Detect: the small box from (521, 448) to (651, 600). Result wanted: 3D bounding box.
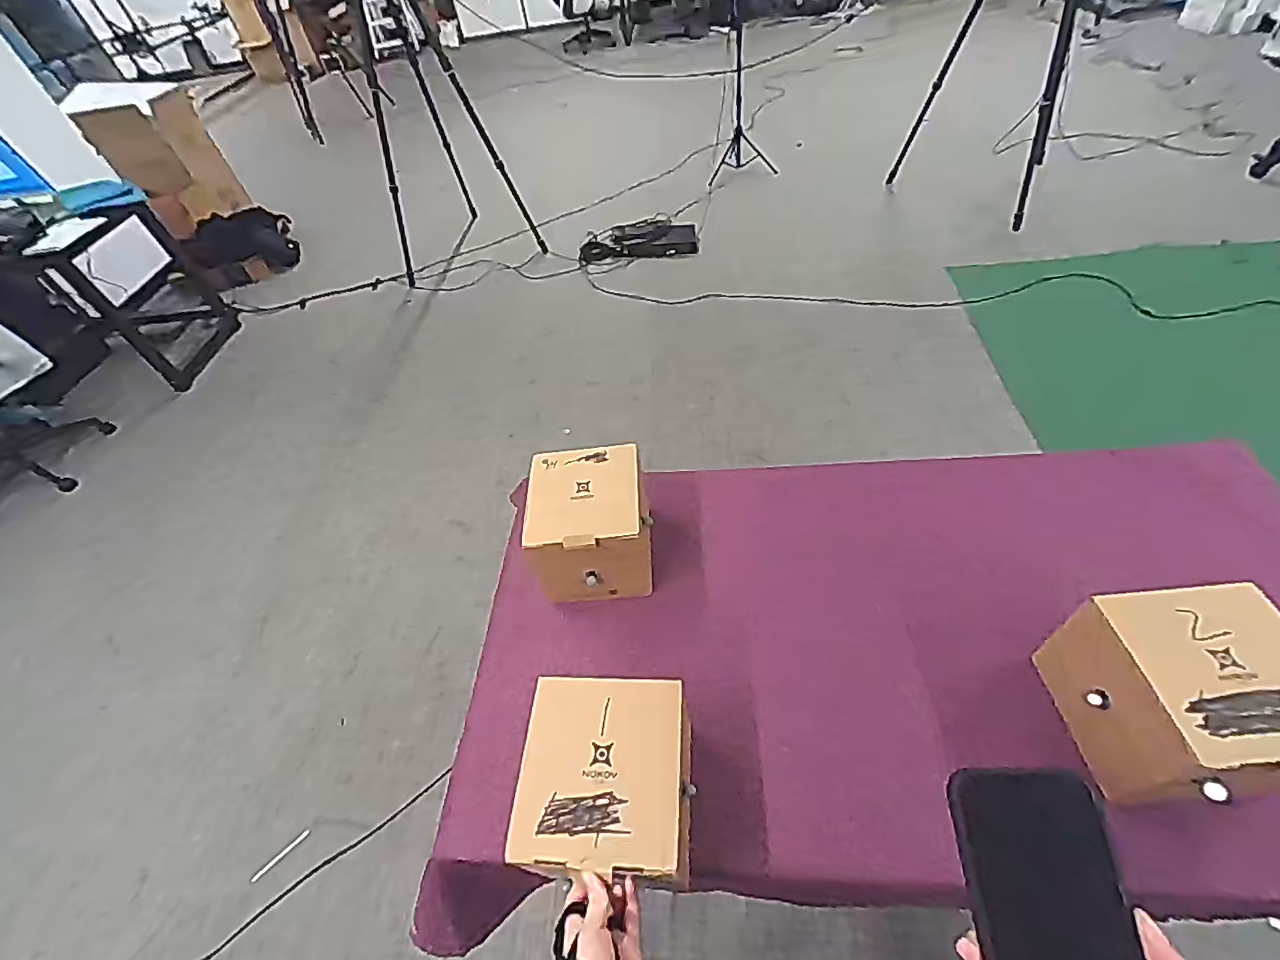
[{"bbox_3d":[-0.075,0.076,0.845,0.168,0.176,0.179,-6,50,4],"label":"small box"}]

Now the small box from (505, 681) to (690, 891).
[{"bbox_3d":[-0.031,0.344,0.607,0.168,0.176,0.179,-2,48,8],"label":"small box"}]
